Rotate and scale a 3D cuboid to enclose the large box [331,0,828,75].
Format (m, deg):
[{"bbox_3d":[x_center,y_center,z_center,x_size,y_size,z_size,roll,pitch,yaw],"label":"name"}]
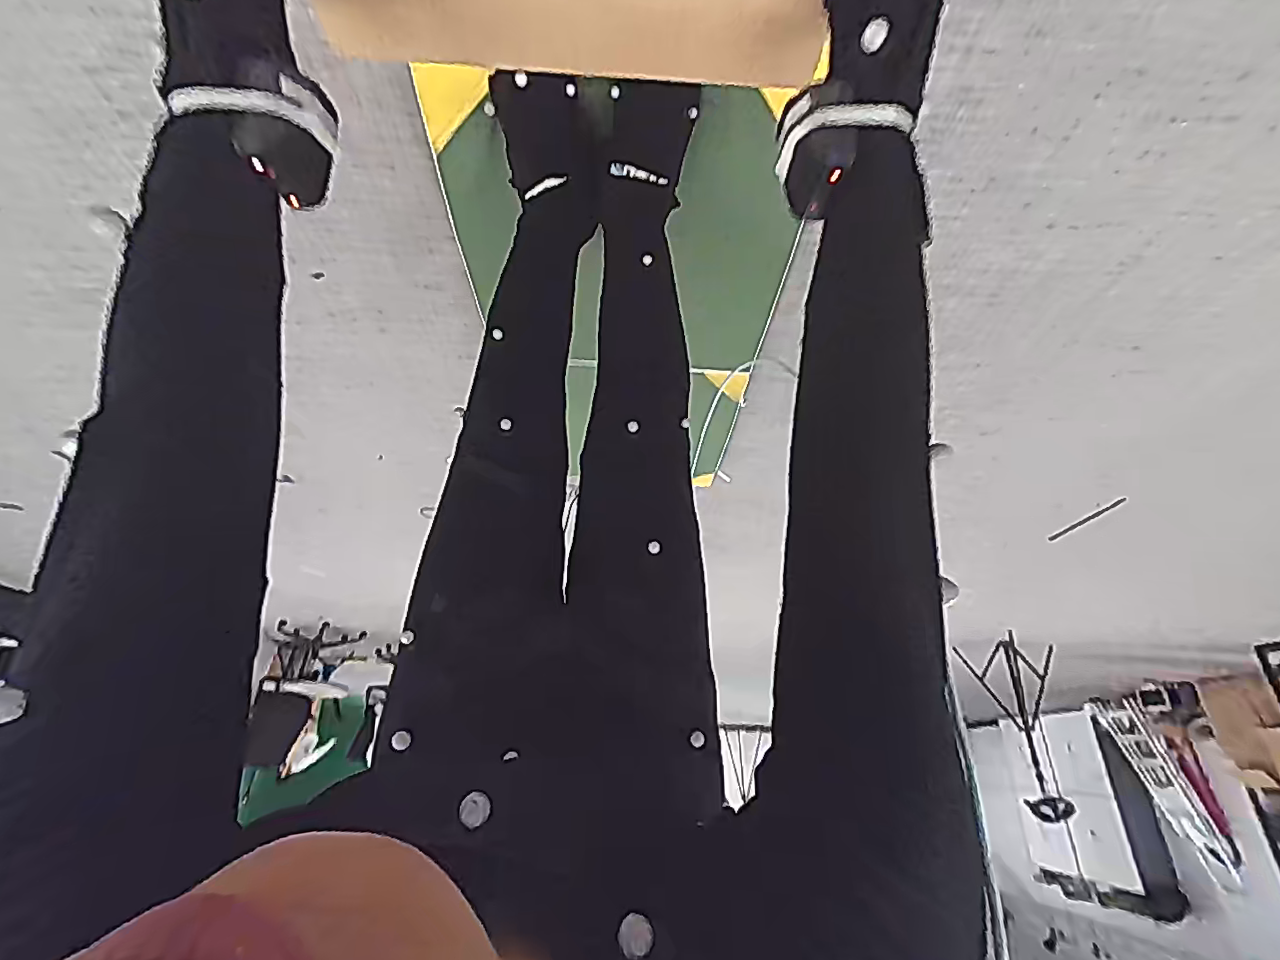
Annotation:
[{"bbox_3d":[-0.045,-0.562,0.406,0.408,0.320,0.320,2,153,-2],"label":"large box"}]
